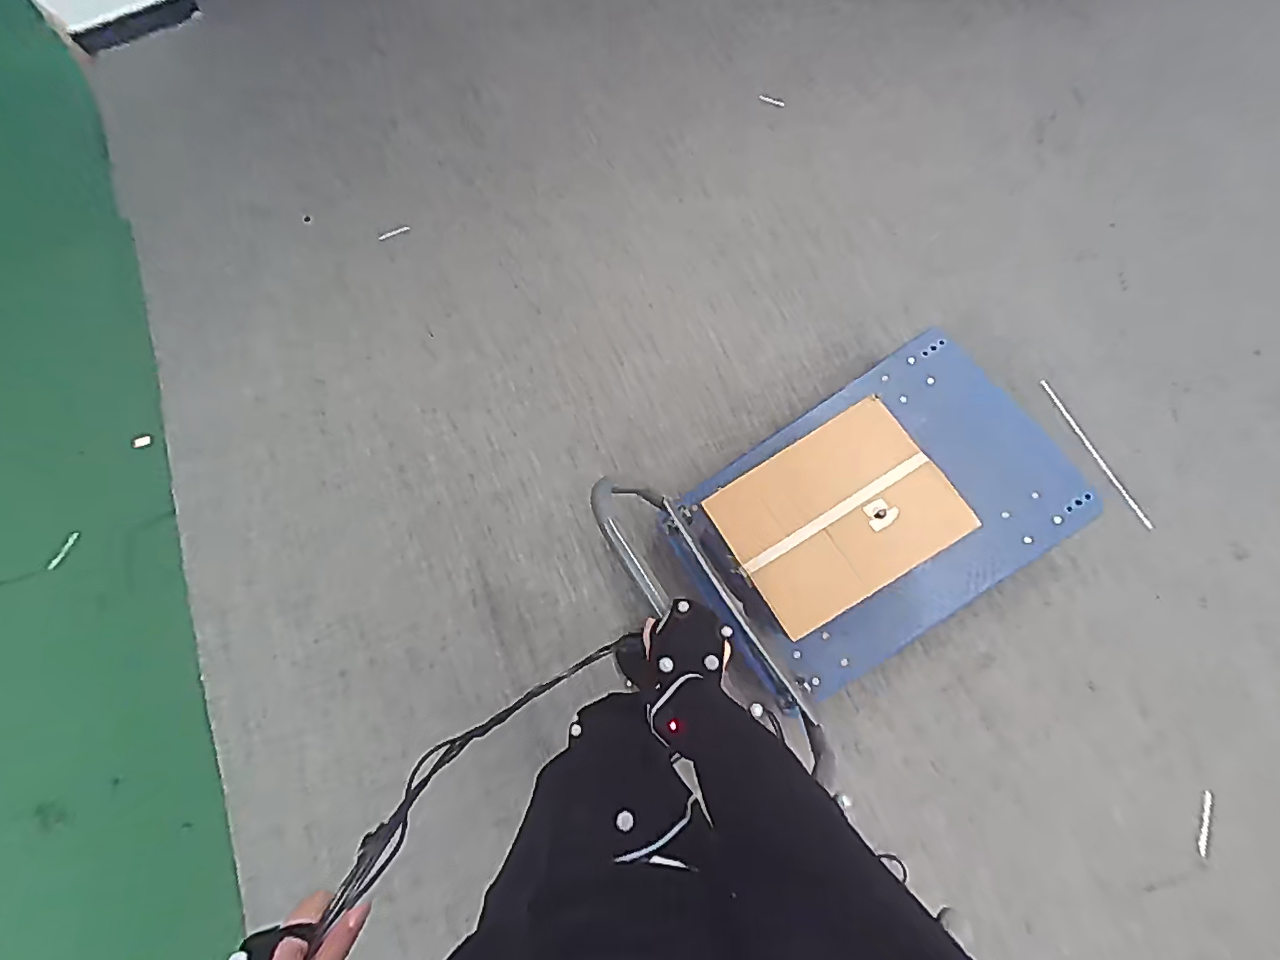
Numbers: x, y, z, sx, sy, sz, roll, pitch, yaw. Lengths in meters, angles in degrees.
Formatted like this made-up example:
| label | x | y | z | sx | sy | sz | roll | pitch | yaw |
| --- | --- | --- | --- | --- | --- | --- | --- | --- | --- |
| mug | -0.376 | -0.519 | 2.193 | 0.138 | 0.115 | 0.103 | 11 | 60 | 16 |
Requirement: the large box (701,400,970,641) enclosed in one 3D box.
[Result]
| label | x | y | z | sx | sy | sz | roll | pitch | yaw |
| --- | --- | --- | --- | --- | --- | --- | --- | --- | --- |
| large box | 0.383 | 0.104 | 1.169 | 0.408 | 0.320 | 0.320 | -32 | 75 | 1 |
